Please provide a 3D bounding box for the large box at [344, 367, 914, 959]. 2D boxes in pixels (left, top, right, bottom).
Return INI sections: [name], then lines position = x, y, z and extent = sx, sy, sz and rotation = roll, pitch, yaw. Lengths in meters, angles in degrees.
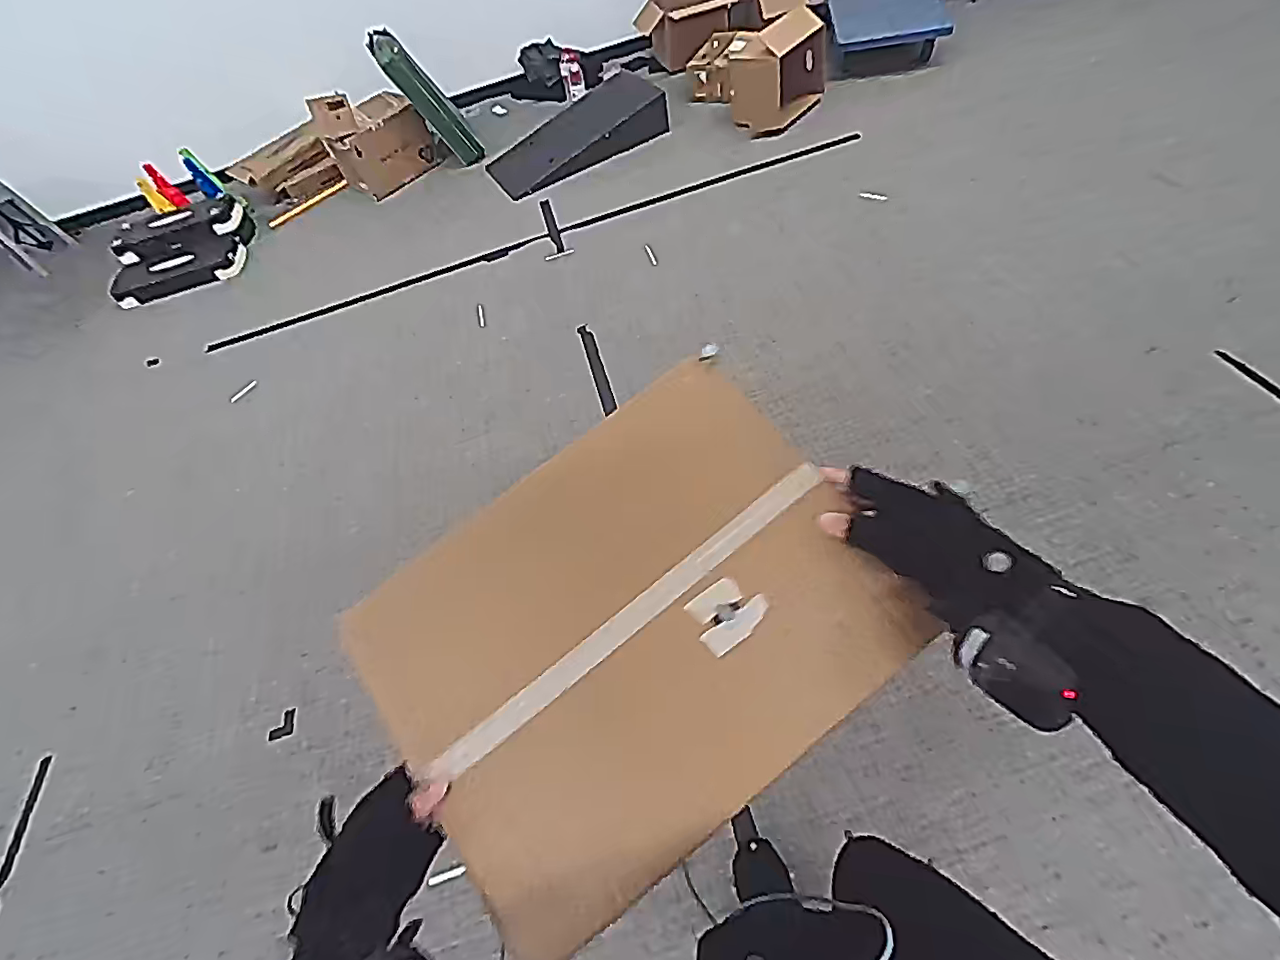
[large box]
position = -0.006, 0.168, 0.598
extent = 0.408, 0.320, 0.320
rotation = -40, 73, -8
